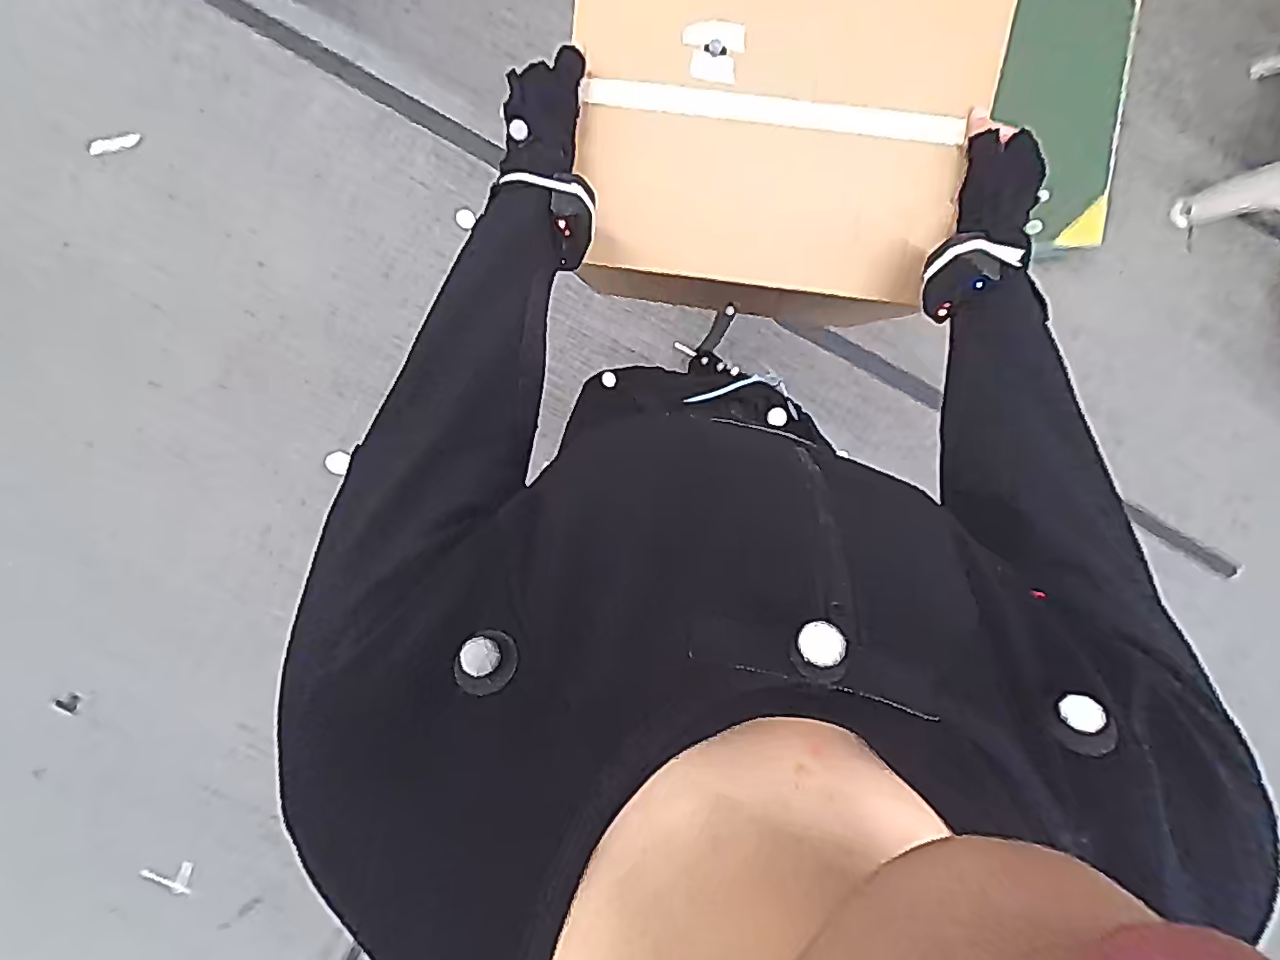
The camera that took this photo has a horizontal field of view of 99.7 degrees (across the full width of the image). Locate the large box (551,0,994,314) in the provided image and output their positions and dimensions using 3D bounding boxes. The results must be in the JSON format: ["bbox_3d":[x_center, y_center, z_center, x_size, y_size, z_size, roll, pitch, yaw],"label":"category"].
[{"bbox_3d":[0.131,-0.395,0.675,0.408,0.320,0.320,8,102,3],"label":"large box"}]
